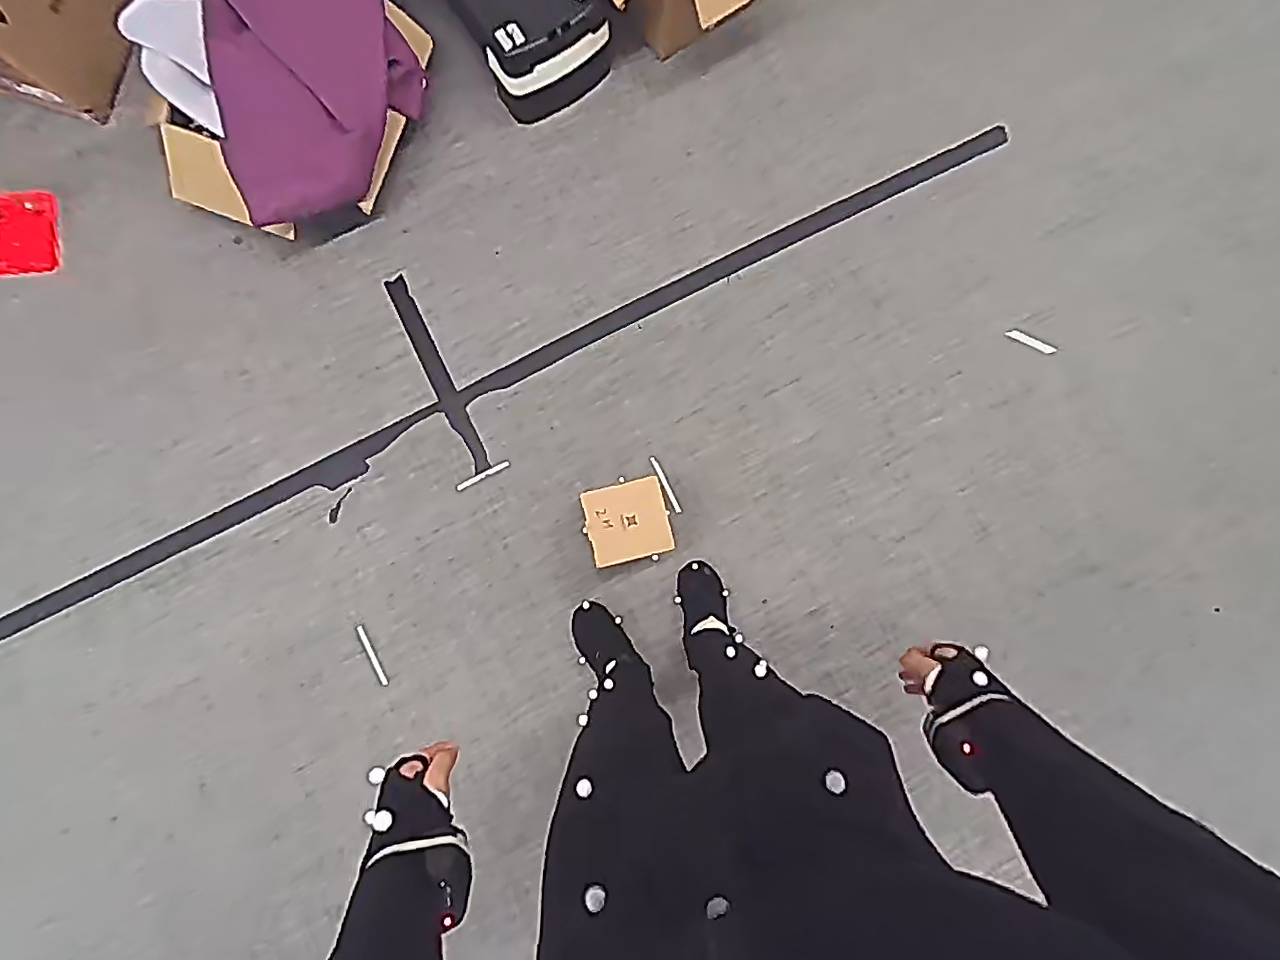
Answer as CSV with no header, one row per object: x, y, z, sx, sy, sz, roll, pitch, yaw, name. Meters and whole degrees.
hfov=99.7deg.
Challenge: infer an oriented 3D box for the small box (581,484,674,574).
-0.033,0.108,1.243,0.179,0.176,0.168,-13,86,-4,small box
